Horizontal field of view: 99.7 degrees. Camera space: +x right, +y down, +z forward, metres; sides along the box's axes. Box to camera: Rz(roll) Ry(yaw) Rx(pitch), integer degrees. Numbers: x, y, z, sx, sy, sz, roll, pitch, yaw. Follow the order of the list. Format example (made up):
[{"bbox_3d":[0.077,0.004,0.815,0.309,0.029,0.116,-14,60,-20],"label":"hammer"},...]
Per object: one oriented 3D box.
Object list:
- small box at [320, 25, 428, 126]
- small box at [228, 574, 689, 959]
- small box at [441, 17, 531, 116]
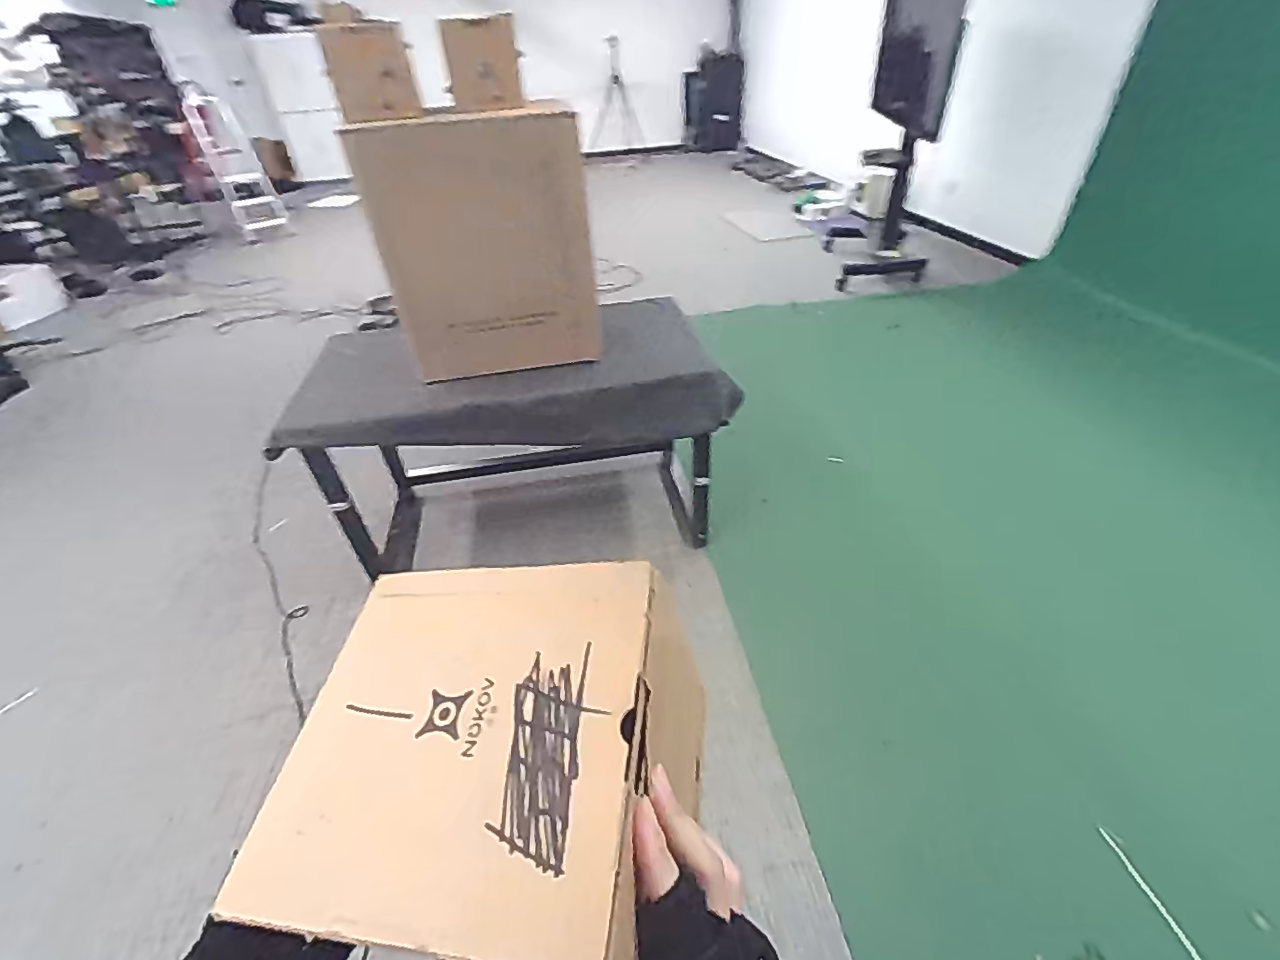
[{"bbox_3d":[-0.584,-0.905,1.213,0.168,0.176,0.179,-11,40,-10],"label":"small box"},{"bbox_3d":[-0.066,0.172,0.318,0.179,0.176,0.168,-5,47,11],"label":"small box"},{"bbox_3d":[-0.351,-0.956,1.255,0.168,0.176,0.179,-9,41,-7],"label":"small box"}]
